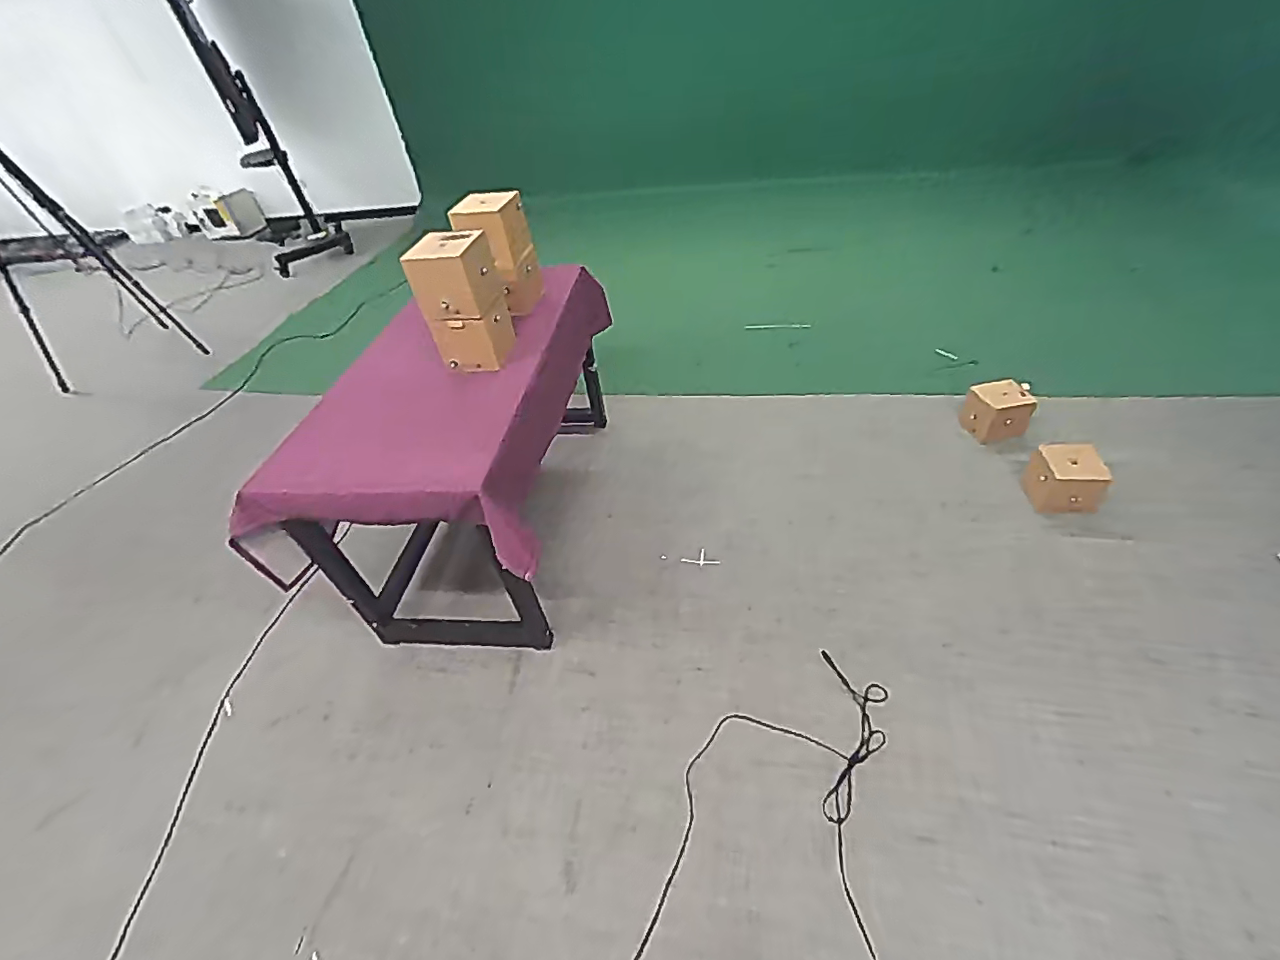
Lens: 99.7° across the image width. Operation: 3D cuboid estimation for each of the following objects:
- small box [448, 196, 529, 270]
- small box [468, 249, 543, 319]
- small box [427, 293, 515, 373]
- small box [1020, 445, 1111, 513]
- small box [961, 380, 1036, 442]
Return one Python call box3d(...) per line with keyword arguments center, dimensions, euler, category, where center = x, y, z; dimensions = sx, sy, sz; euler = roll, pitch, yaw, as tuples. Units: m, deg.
box3d(center=(-0.465, -0.769, 1.694), dimensions=(0.168, 0.176, 0.179), euler=(3, 44, 12), category="small box")
box3d(center=(-0.440, -0.651, 1.804), dimensions=(0.168, 0.176, 0.179), euler=(4, 45, 13), category="small box")
box3d(center=(-0.477, -0.419, 1.562), dimensions=(0.168, 0.176, 0.179), euler=(0, 43, 9), category="small box")
box3d(center=(1.442, -0.002, 1.846), dimensions=(0.168, 0.176, 0.179), euler=(1, 44, 10), category="small box")
box3d(center=(1.406, -0.269, 2.140), dimensions=(0.179, 0.176, 0.168), euler=(-11, 43, -2), category="small box")
